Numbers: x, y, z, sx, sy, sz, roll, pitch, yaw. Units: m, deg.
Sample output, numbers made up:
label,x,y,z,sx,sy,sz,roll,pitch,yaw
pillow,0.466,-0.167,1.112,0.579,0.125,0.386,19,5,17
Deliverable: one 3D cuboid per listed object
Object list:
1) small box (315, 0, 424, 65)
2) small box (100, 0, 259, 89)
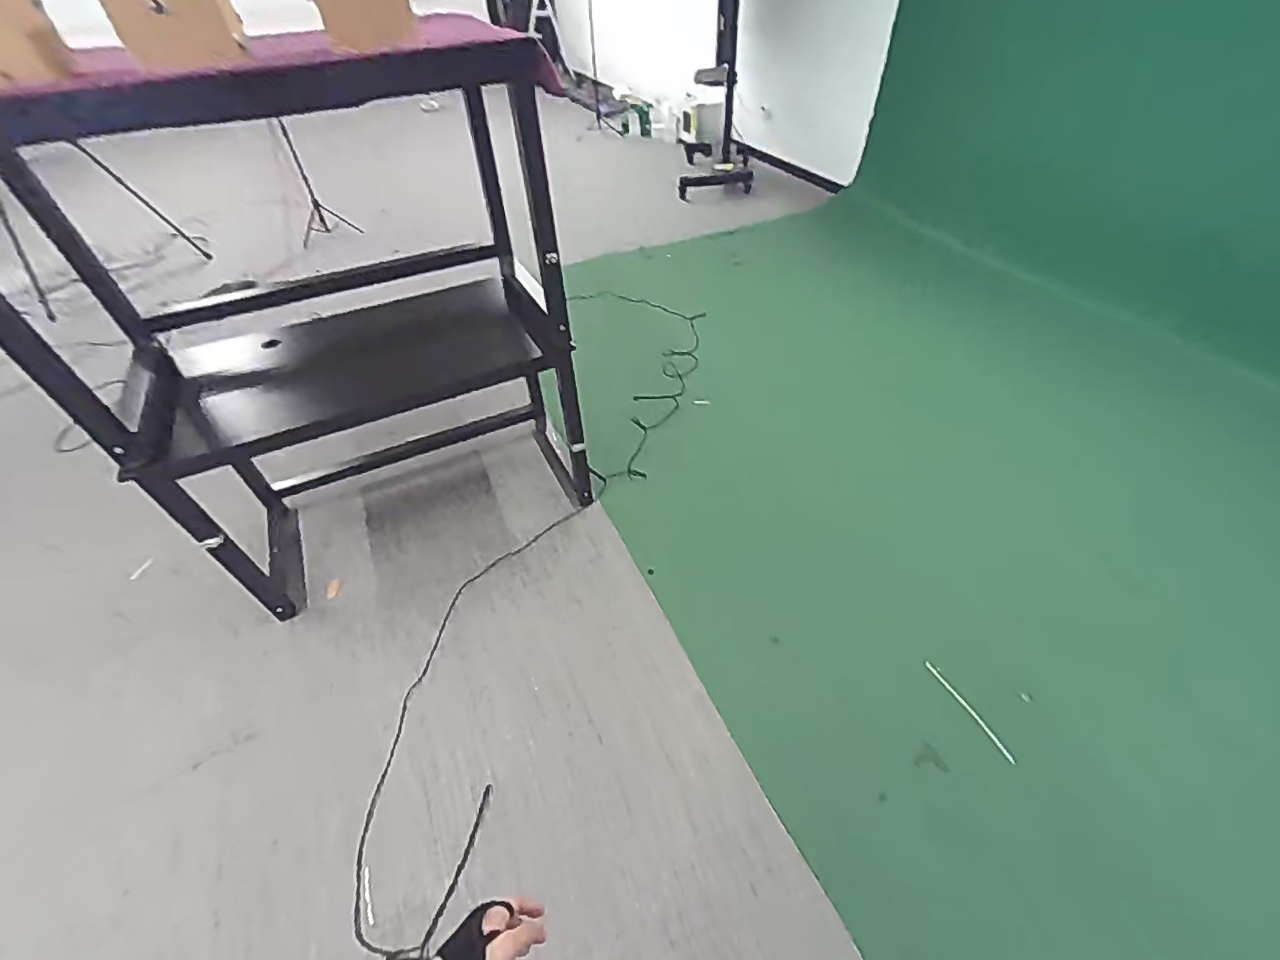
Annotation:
label,x,y,z,sx,sy,sz,roll,pitch,yaw
small box,-0.564,-0.969,1.105,0.179,0.176,0.168,-19,47,-14
small box,-0.849,-0.850,1.004,0.179,0.176,0.168,-18,46,-12
